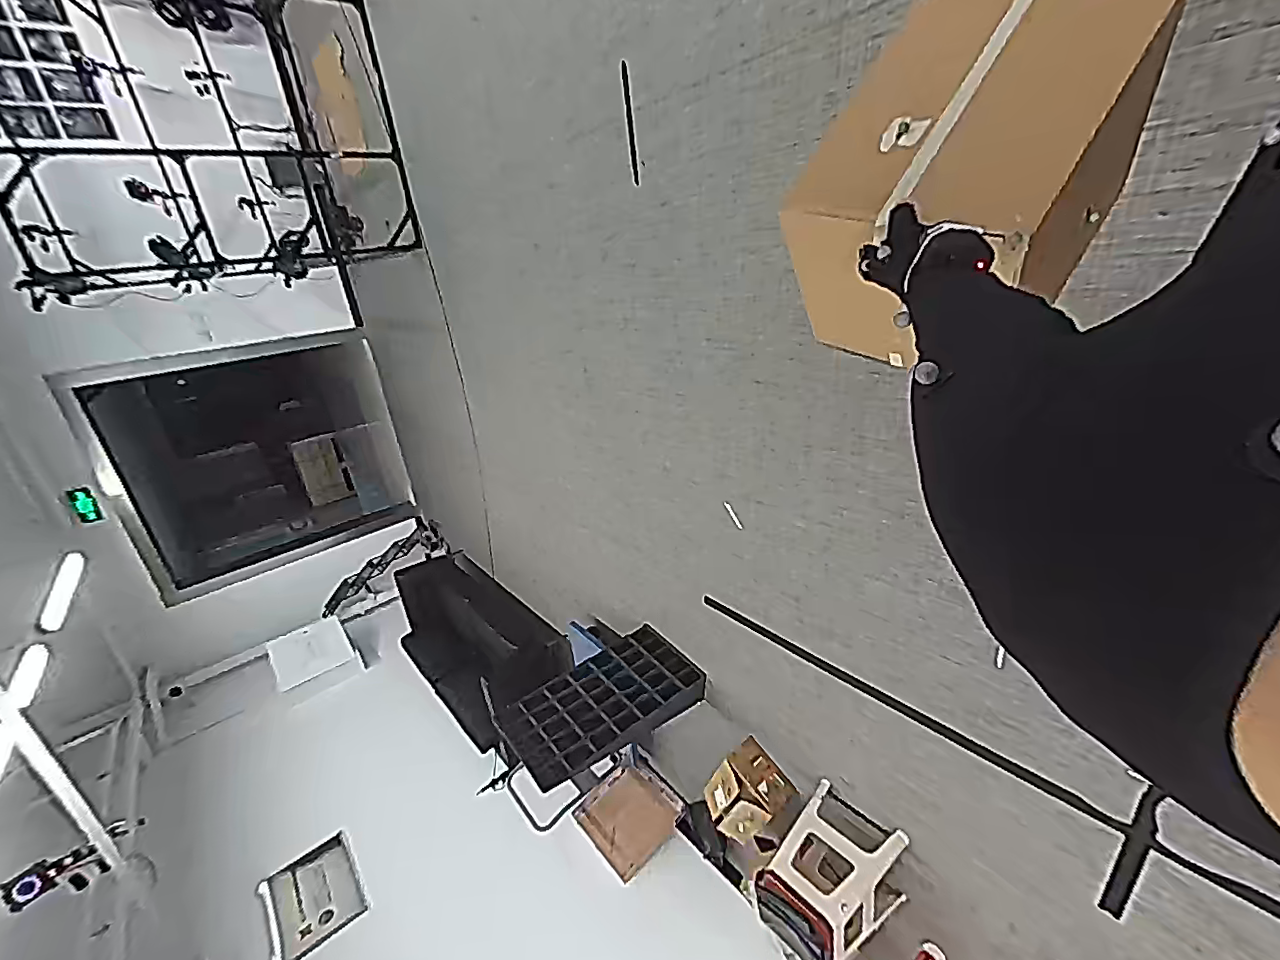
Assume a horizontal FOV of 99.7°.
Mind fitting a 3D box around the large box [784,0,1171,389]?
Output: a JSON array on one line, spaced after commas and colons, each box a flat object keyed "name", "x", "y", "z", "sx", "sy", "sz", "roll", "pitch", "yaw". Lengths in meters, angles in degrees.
[{"name": "large box", "x": 0.483, "y": -0.417, "z": 0.821, "sx": 0.320, "sy": 0.408, "sz": 0.320, "roll": 29, "pitch": 173, "yaw": 37}]
